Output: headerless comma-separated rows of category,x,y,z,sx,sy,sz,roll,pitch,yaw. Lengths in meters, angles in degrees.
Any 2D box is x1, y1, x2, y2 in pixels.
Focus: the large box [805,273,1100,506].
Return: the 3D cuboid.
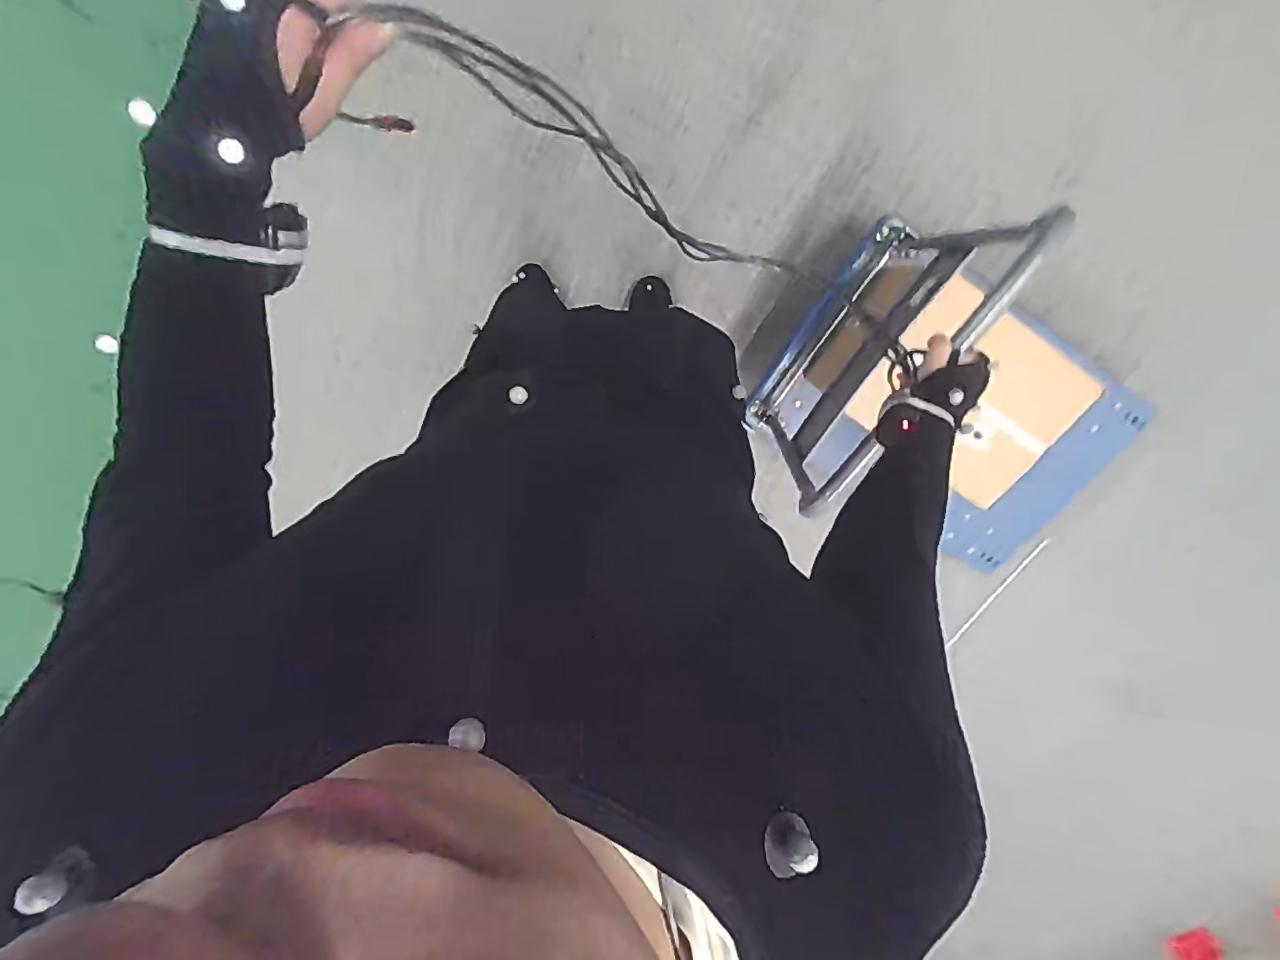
large box,0.649,-0.215,1.200,0.408,0.320,0.320,32,110,-10
